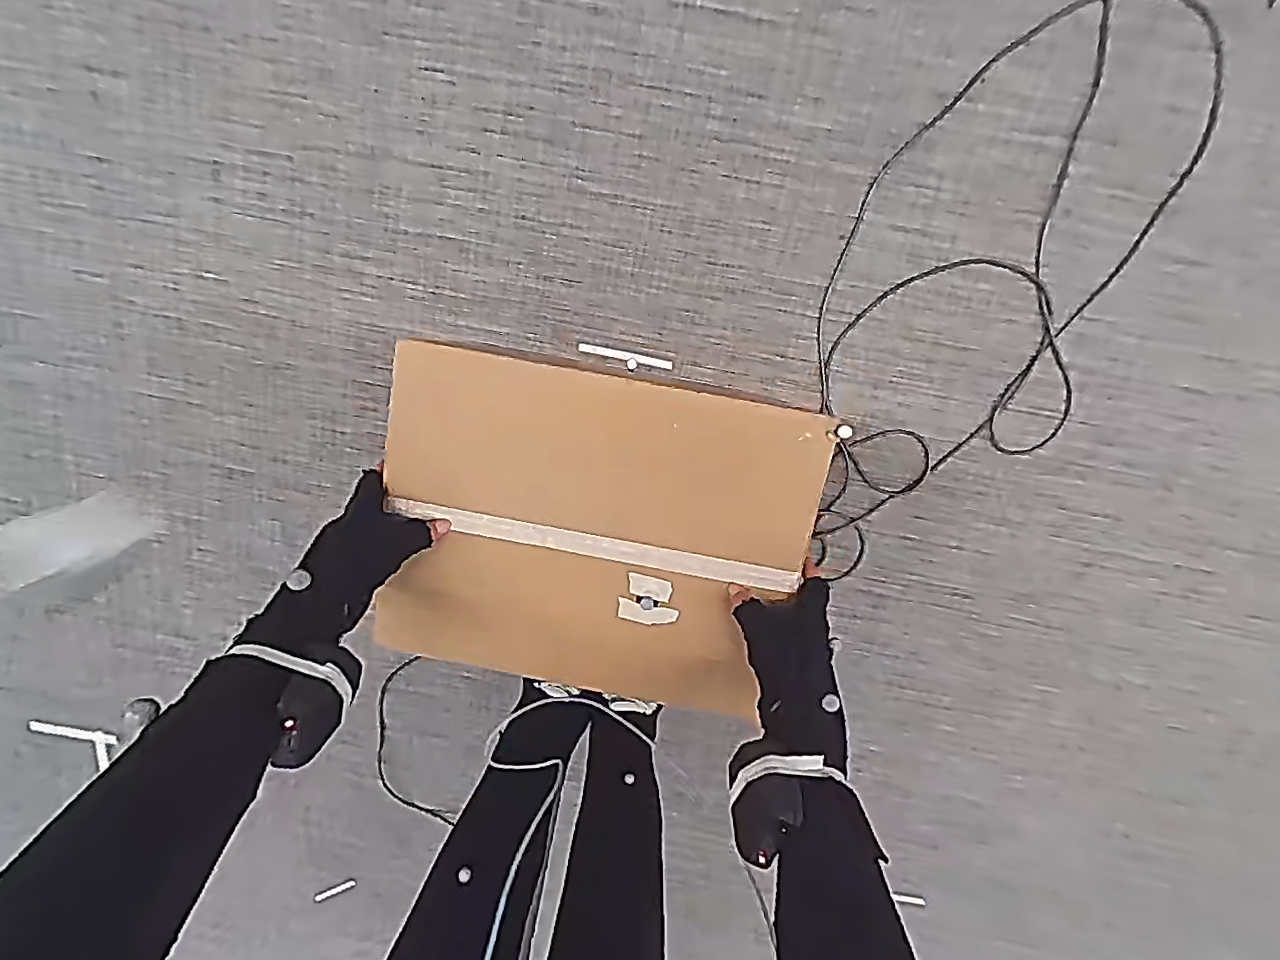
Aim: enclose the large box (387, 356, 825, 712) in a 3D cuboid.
[{"bbox_3d":[-0.041,0.033,0.677,0.408,0.320,0.320,10,103,1],"label":"large box"}]
